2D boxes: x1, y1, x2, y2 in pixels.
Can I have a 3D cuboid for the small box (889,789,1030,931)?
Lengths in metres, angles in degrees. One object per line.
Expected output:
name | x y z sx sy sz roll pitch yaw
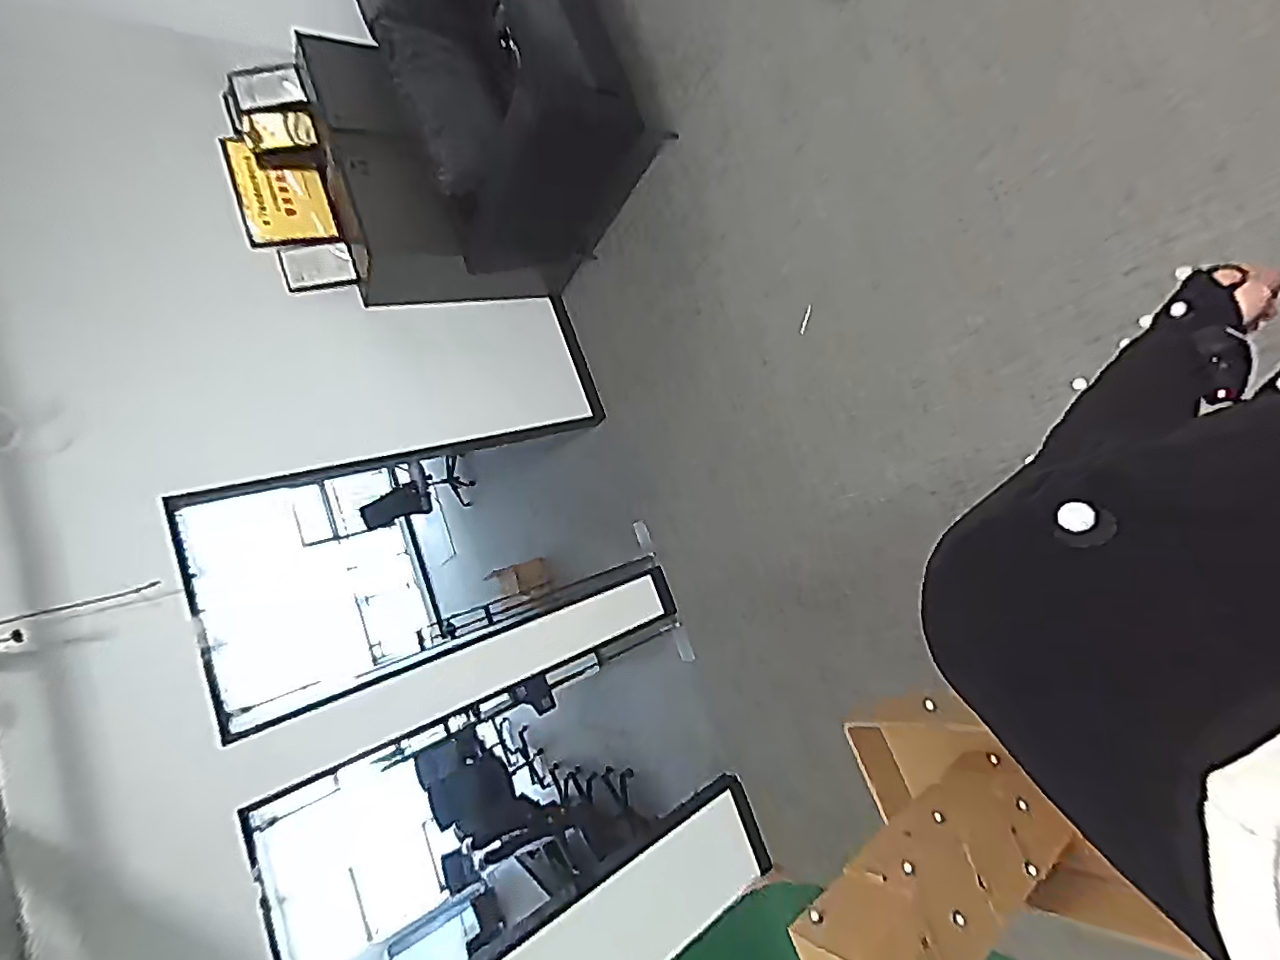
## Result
small box | 0.674 0.779 1.134 0.179 0.176 0.168 -38 71 57

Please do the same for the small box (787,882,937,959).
small box | 0.406 0.864 0.962 0.179 0.176 0.168 -40 70 57

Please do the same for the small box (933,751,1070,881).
small box | 0.812 0.741 1.214 0.168 0.176 0.179 -39 70 57
